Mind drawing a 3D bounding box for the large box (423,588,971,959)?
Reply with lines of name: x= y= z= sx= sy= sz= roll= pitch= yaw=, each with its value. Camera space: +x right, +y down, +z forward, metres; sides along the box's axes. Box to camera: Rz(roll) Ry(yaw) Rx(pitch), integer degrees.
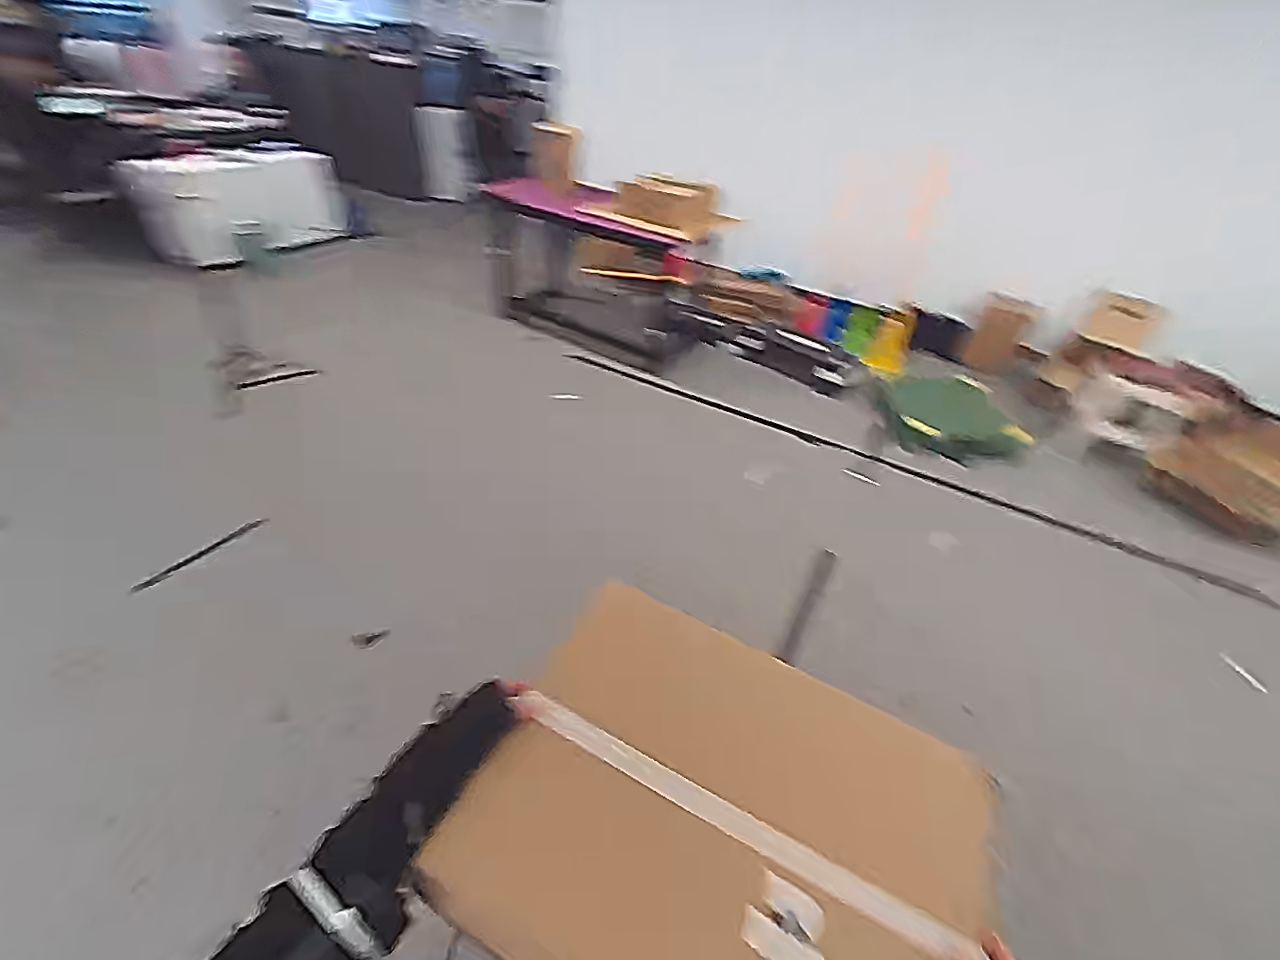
large box: x=0.057 y=0.389 z=0.570 sx=0.408 sy=0.320 sz=0.320 roll=23 pitch=48 yaw=15
